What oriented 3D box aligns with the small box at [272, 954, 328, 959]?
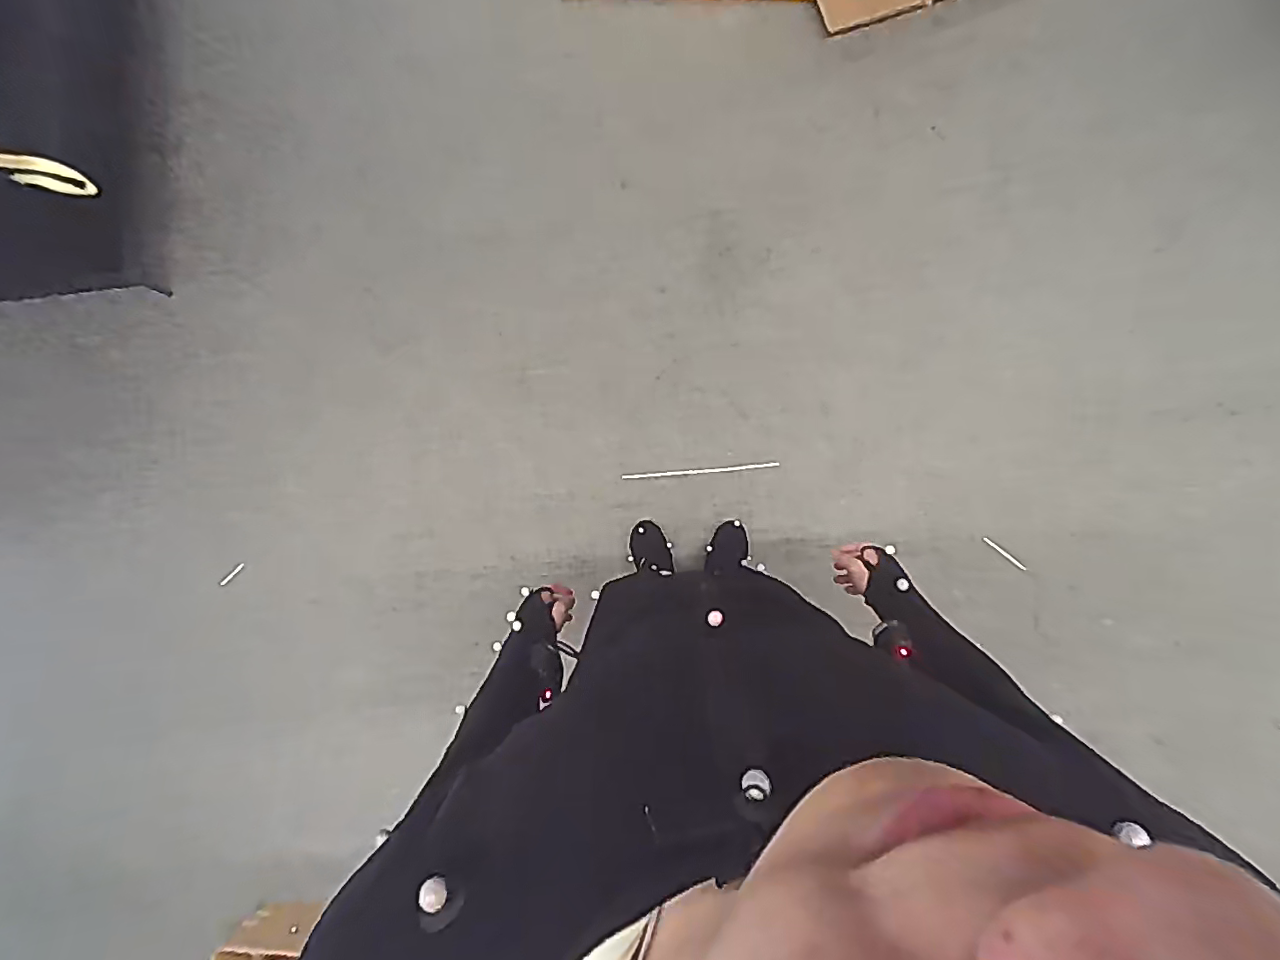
[{"bbox_3d":[-0.999,1.464,1.497,0.179,0.176,0.168,-1,87,5],"label":"small box"}]
